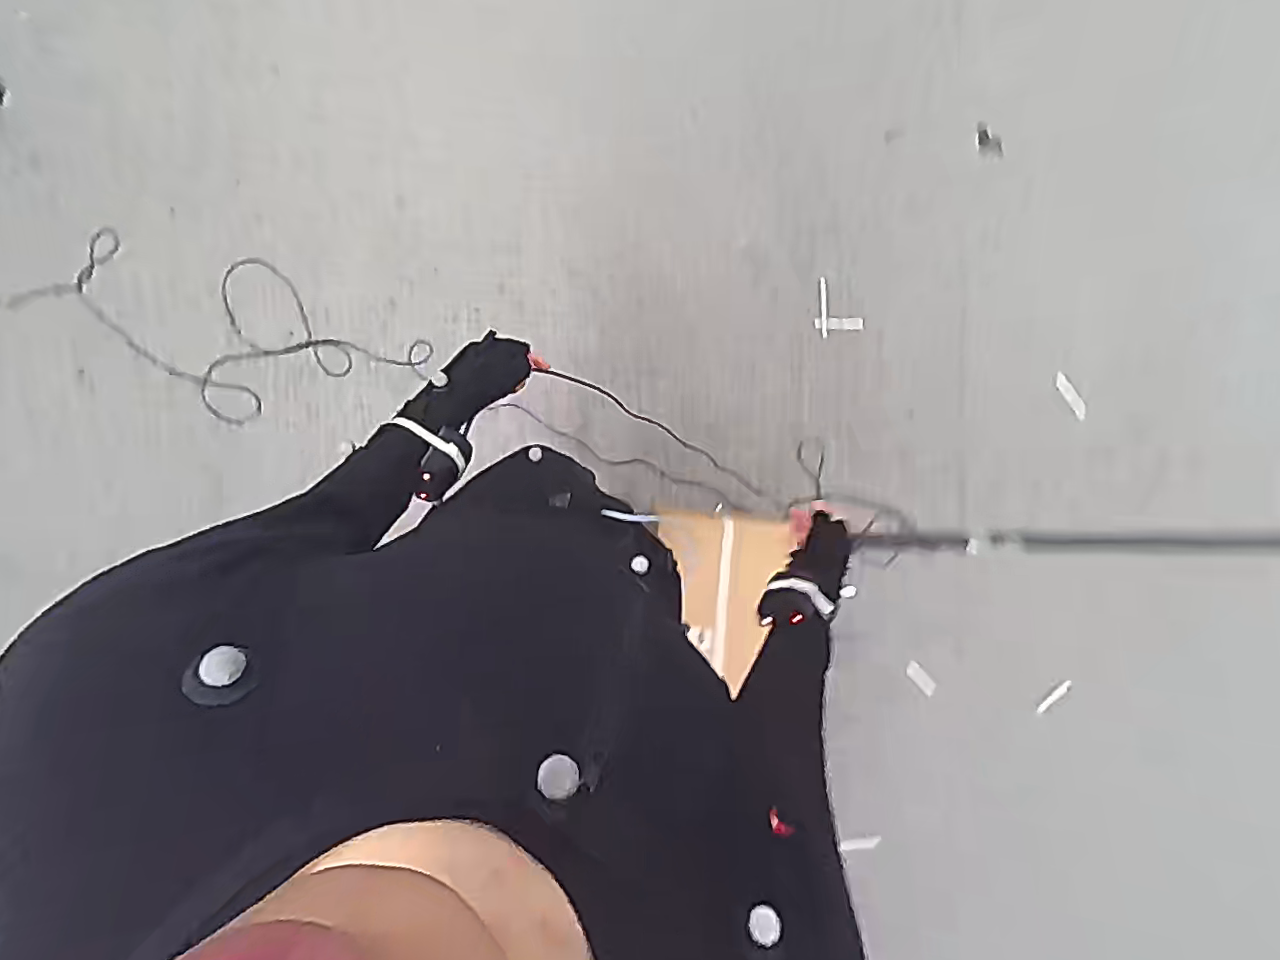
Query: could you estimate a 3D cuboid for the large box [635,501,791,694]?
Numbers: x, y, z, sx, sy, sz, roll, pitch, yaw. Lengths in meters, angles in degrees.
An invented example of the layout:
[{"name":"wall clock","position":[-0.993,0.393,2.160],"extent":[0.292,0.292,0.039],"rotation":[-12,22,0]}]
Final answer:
[{"name":"large box","position":[0.163,0.272,1.364],"extent":[0.320,0.320,0.408],"rotation":[6,92,-3]}]
